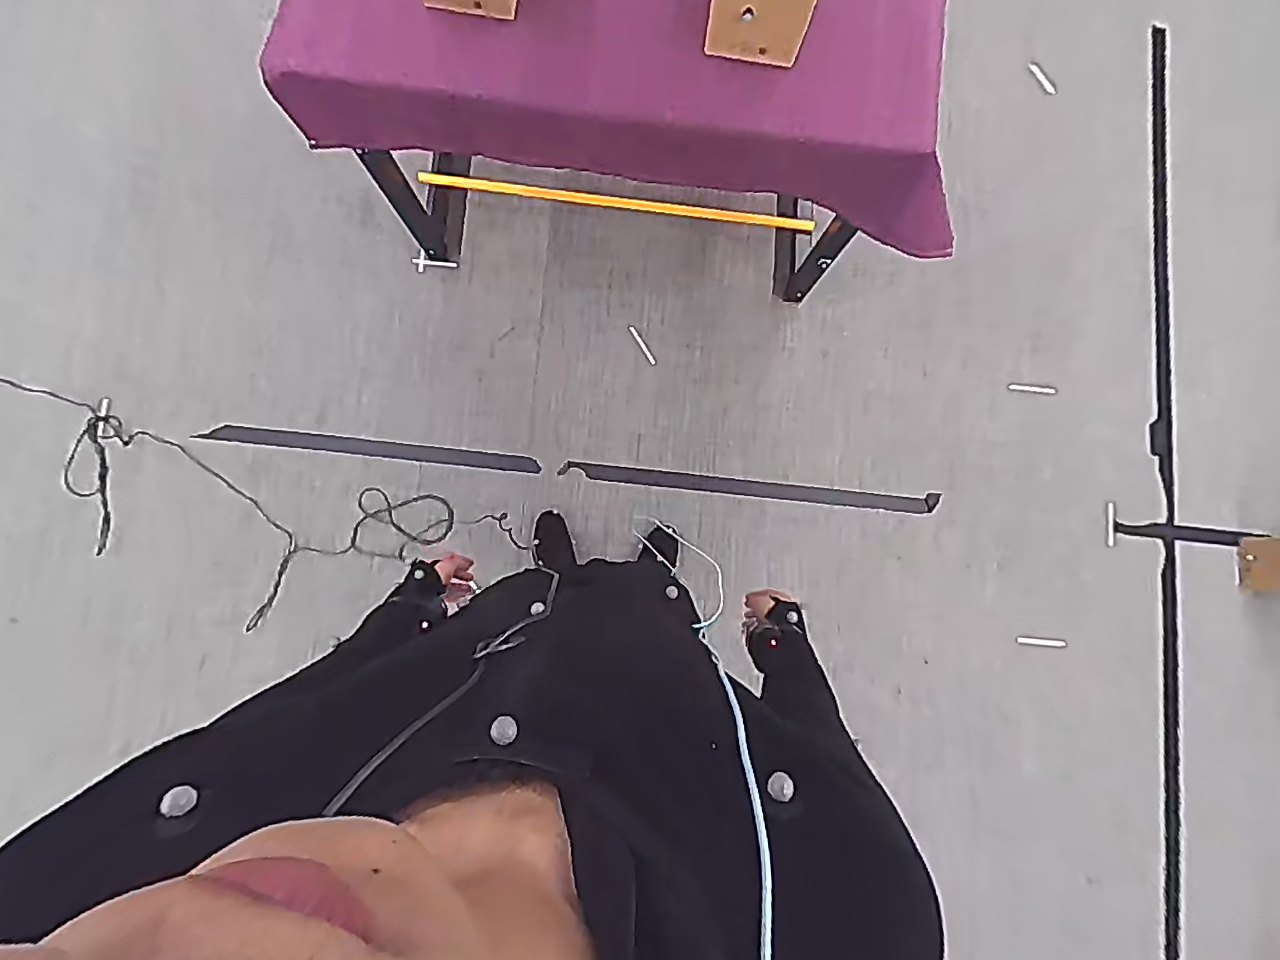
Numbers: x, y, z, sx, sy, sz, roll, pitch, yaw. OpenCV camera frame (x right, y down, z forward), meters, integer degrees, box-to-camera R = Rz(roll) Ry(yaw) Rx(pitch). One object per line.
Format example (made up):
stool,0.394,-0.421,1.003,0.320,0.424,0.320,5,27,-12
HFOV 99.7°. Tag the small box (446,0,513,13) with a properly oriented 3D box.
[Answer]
small box,-0.300,-0.951,0.916,0.168,0.176,0.179,8,85,-3

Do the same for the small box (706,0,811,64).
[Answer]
small box,0.214,-0.875,0.938,0.168,0.176,0.179,8,84,-2
